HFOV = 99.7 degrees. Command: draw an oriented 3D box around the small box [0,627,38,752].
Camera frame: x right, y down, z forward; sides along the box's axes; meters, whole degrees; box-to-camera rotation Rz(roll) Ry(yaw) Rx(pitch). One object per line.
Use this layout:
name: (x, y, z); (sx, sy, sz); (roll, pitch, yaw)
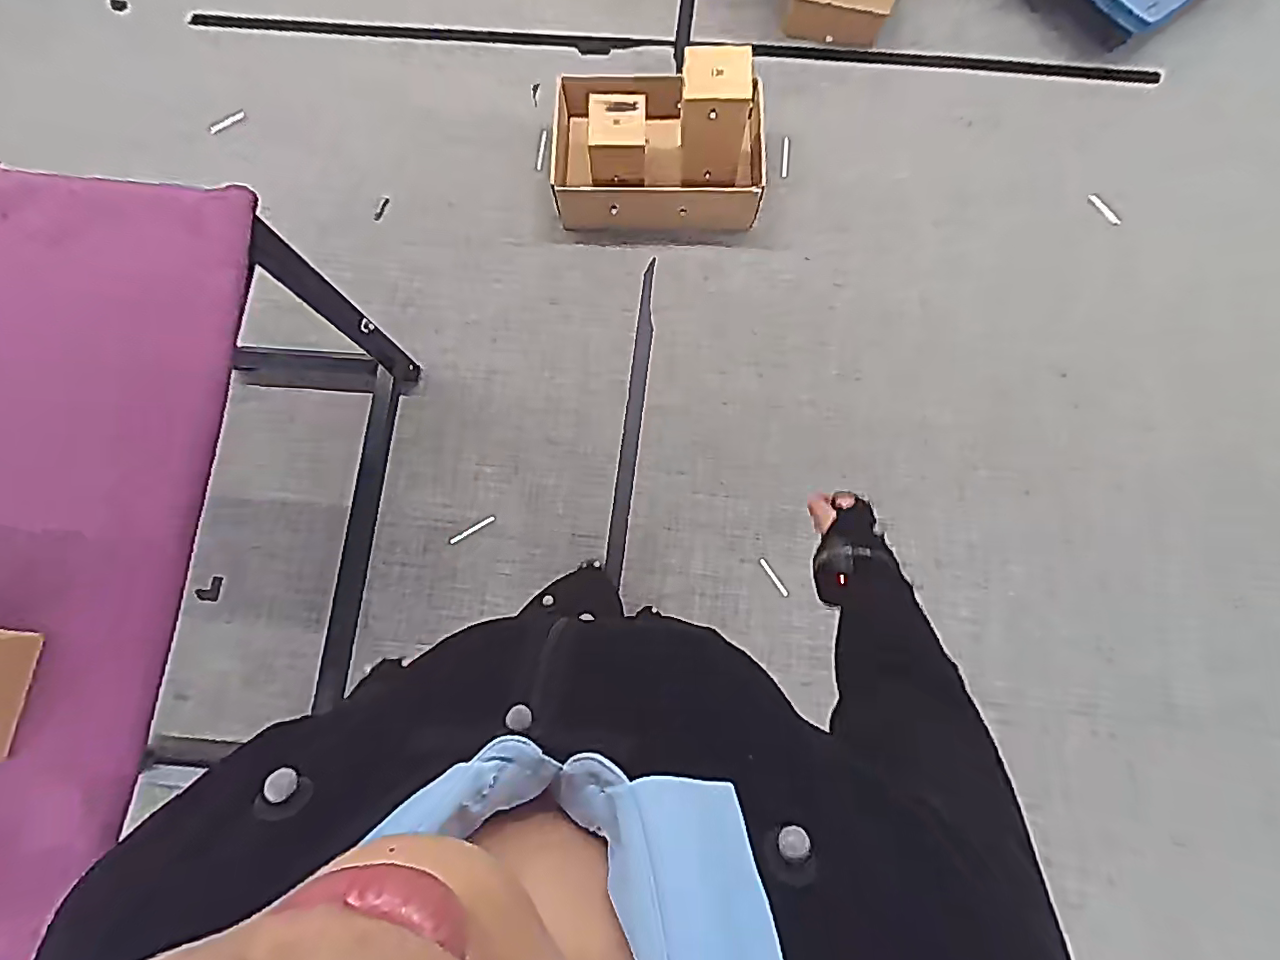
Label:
small box: (-0.955, 0.281, 0.694); (0.168, 0.176, 0.179); (6, 78, 2)

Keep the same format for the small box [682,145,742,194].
small box: (0.214, -0.991, 1.627); (0.168, 0.176, 0.179); (2, 77, 1)

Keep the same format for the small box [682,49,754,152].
small box: (0.207, -1.022, 1.467); (0.179, 0.176, 0.168); (2, 78, 3)
